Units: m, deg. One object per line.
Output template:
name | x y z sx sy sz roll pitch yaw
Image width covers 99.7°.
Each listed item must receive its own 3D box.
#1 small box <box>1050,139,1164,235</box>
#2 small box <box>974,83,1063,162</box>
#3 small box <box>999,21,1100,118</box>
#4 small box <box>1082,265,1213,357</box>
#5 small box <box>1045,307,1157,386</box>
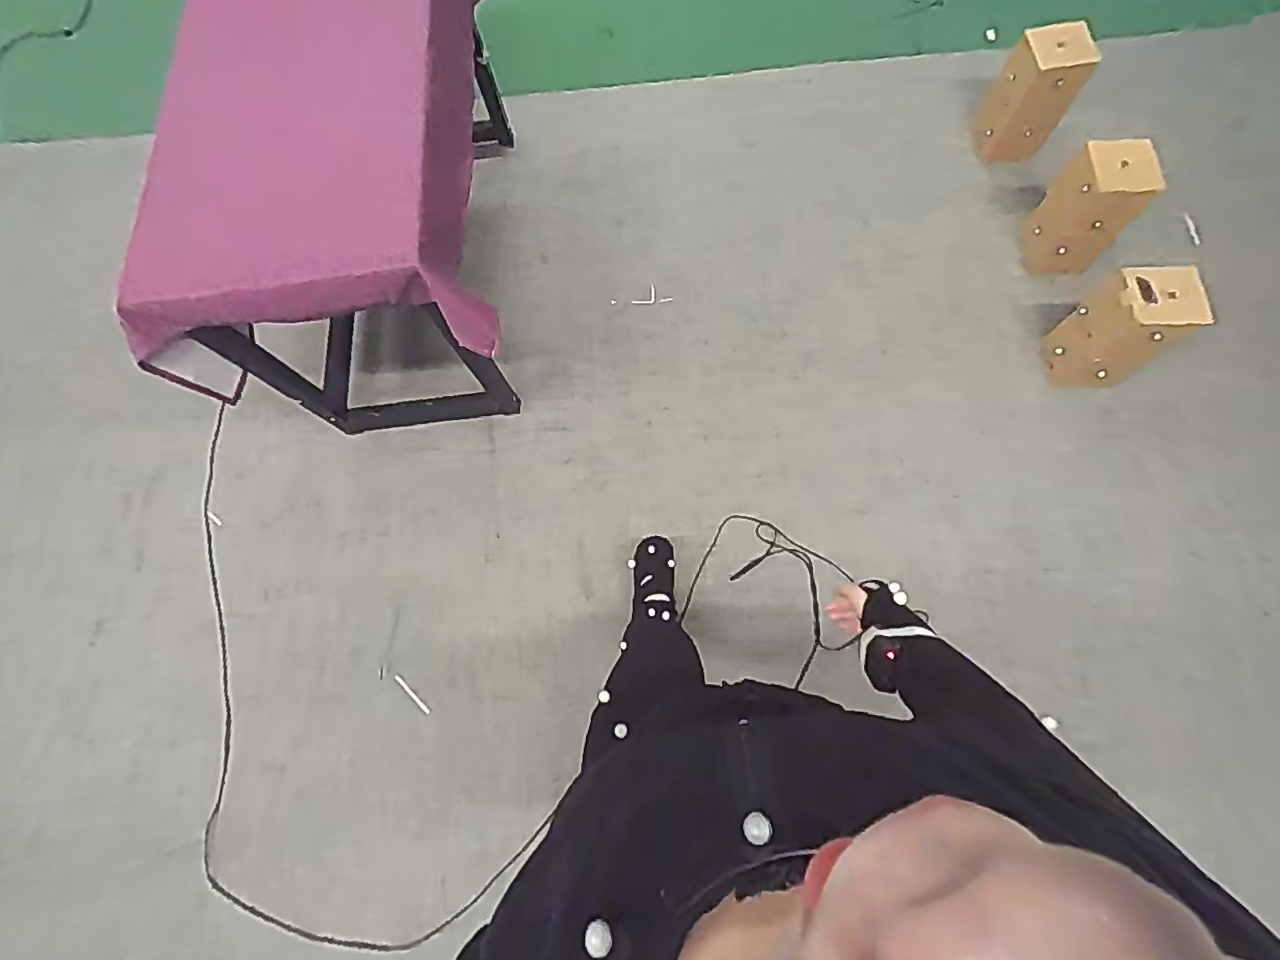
small box | 1.293 -0.816 1.513 0.168 0.176 0.179 1 73 4
small box | 1.249 -1.195 1.806 0.179 0.176 0.168 -4 73 3
small box | 1.234 -1.245 1.650 0.179 0.176 0.168 -5 74 3
small box | 1.287 -0.430 1.393 0.179 0.176 0.168 1 73 4
small box | 1.304 -0.379 1.549 0.179 0.176 0.168 -1 73 5
